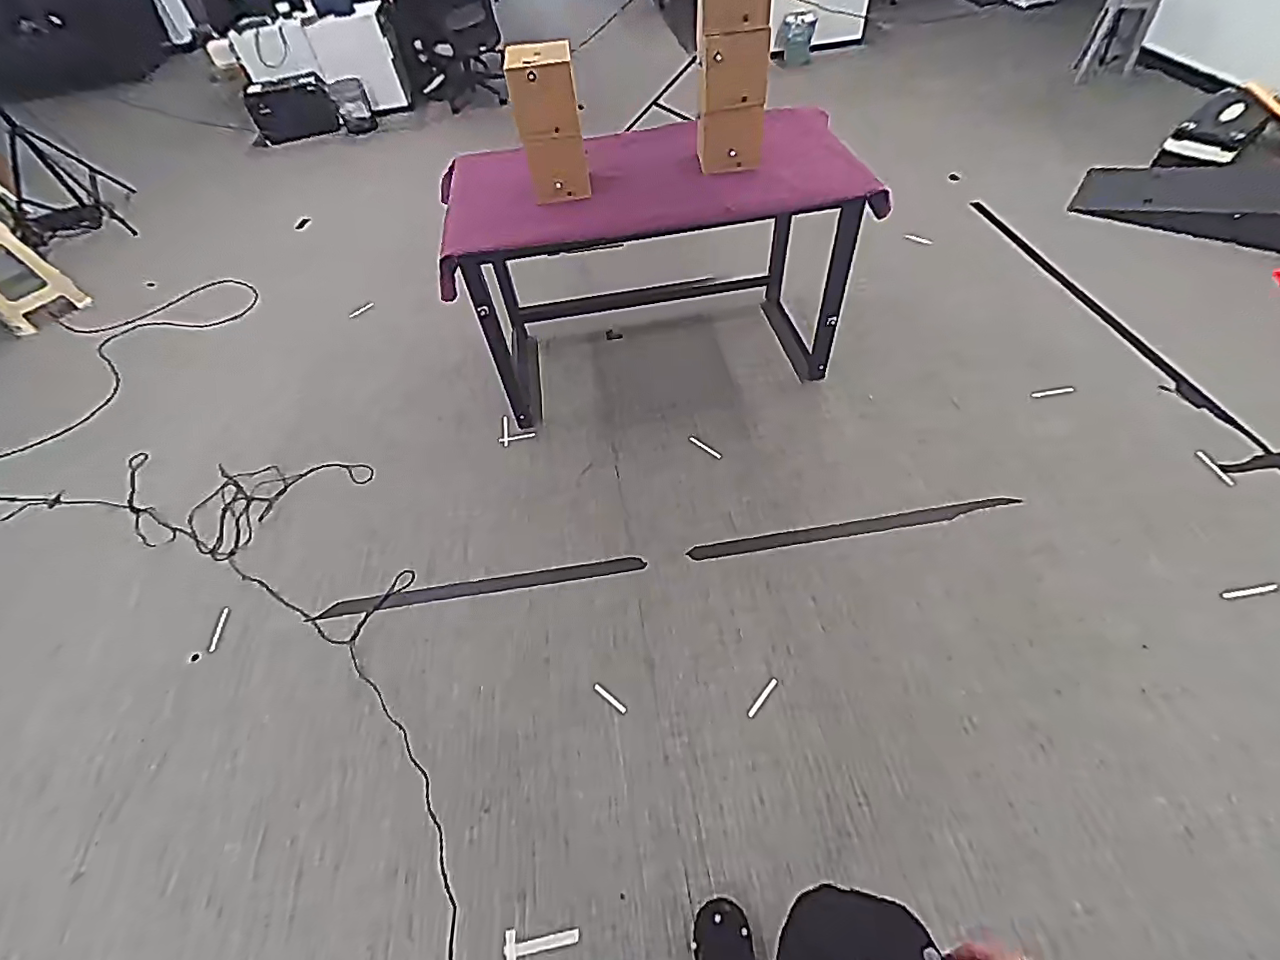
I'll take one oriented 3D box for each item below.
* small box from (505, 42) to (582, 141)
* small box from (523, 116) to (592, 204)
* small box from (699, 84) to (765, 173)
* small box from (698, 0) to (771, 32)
[{"bbox_3d":[-0.249,-1.023,1.428,0.168,0.176,0.179,-8,52,0],"label":"small box"},{"bbox_3d":[-0.234,-0.924,1.558,0.168,0.176,0.179,-8,53,0],"label":"small box"},{"bbox_3d":[0.262,-1.027,1.584,0.168,0.176,0.179,-6,52,3],"label":"small box"},{"bbox_3d":[0.231,-1.220,1.322,0.168,0.176,0.179,-3,51,3],"label":"small box"}]
